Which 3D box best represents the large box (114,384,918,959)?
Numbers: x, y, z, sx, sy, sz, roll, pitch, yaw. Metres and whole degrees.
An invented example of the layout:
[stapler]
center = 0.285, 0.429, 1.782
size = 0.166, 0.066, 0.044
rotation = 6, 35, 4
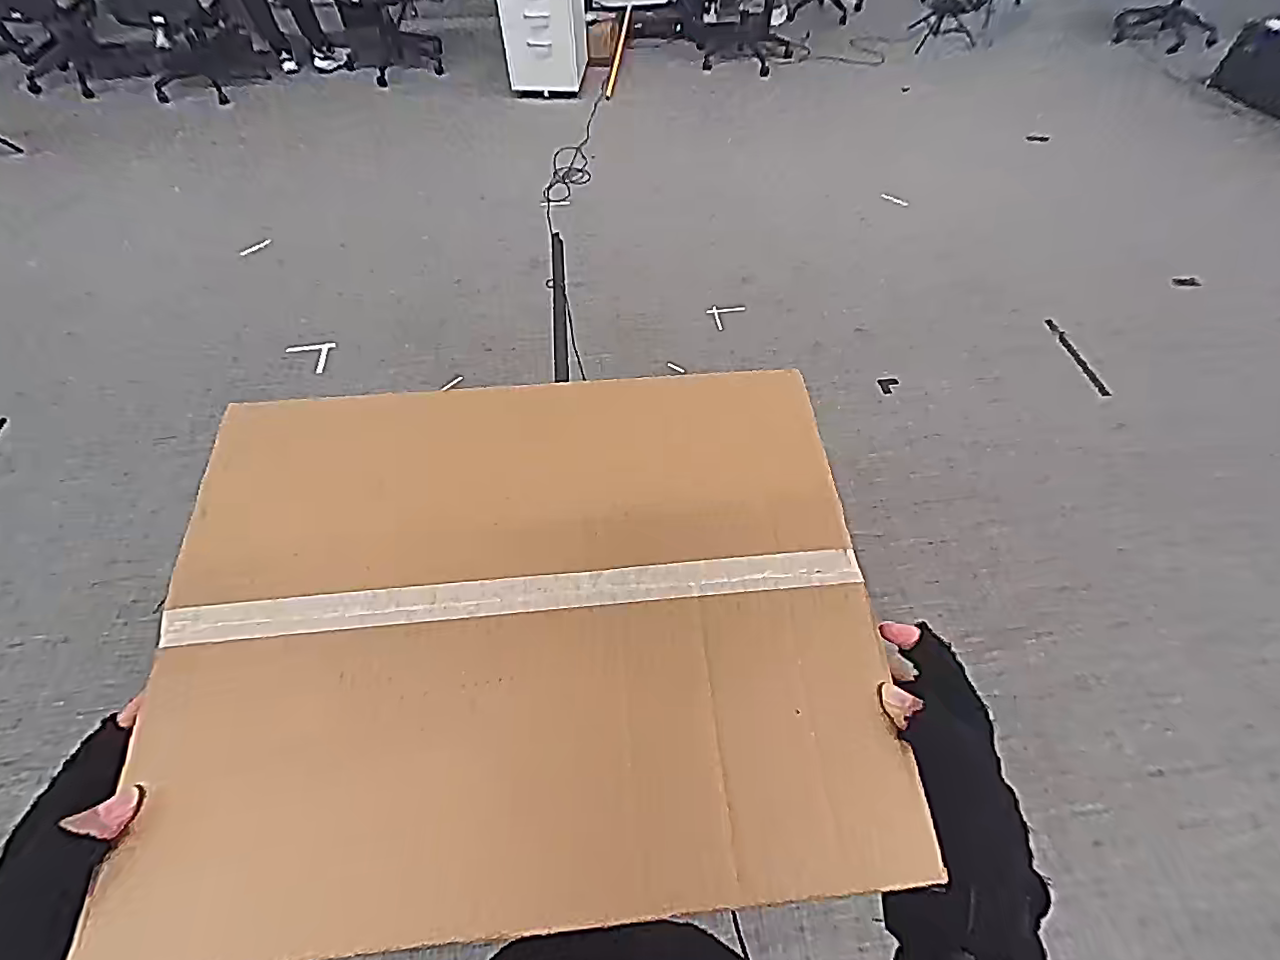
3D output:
[large box]
center = -0.071, 0.147, 0.465
size = 0.408, 0.320, 0.320
rotation = -5, 64, -4
